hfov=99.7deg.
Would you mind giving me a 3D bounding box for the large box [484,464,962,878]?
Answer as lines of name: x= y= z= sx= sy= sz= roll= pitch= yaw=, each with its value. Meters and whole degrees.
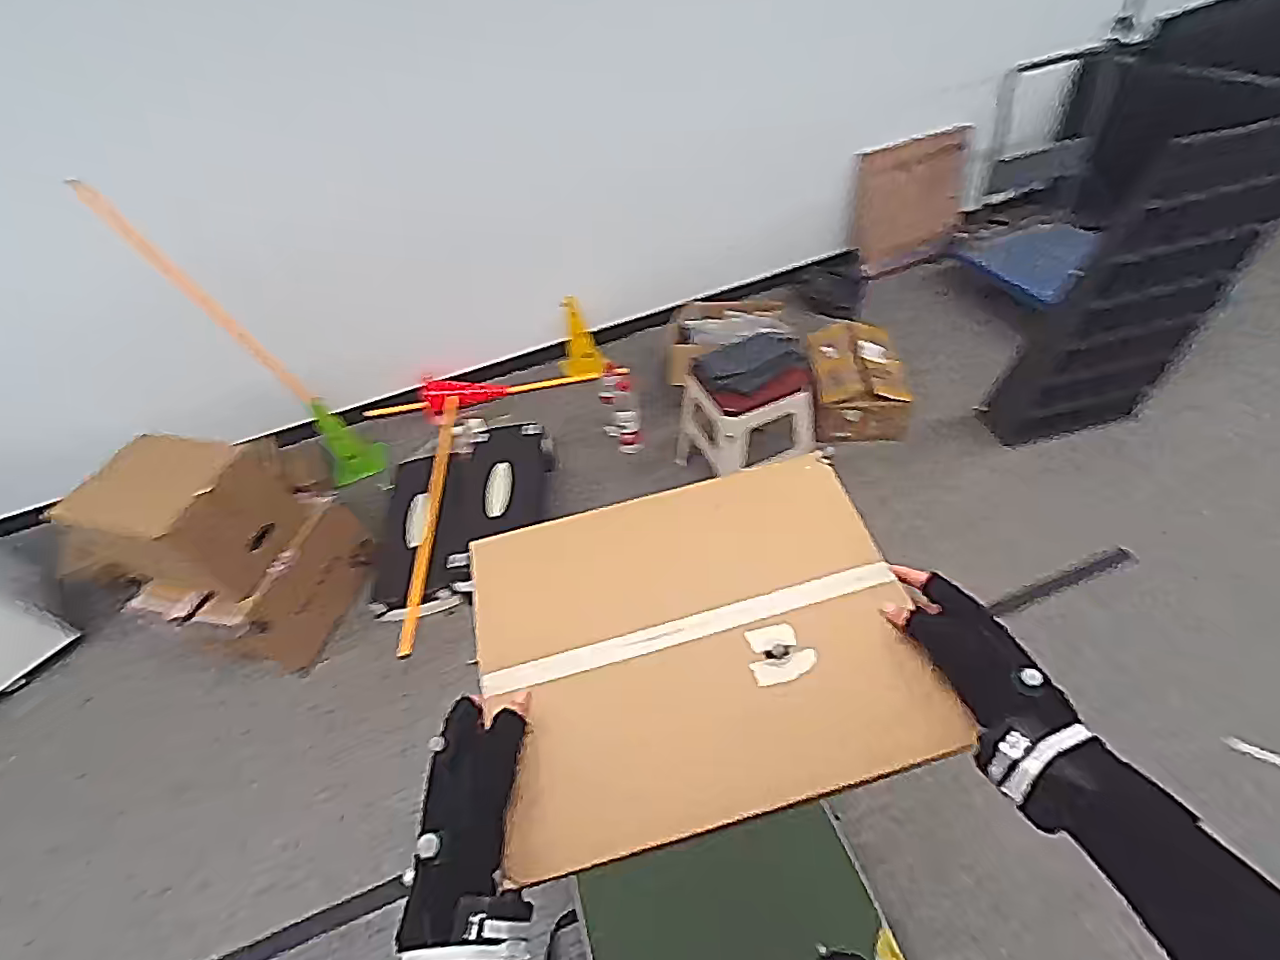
large box: x=0.064 y=0.234 z=0.656 sx=0.408 sy=0.320 sz=0.320 roll=-14 pitch=56 yaw=-5
